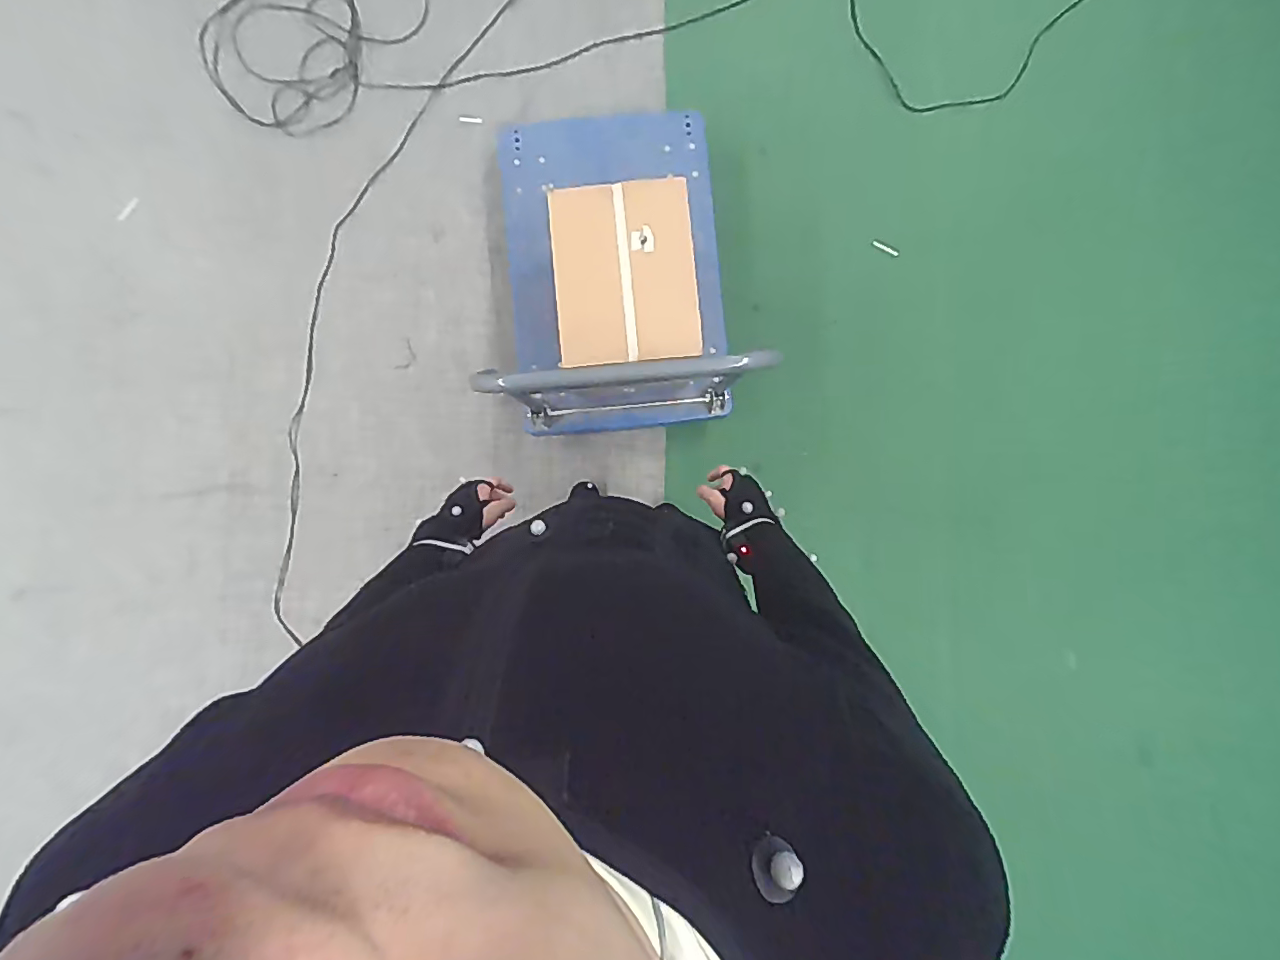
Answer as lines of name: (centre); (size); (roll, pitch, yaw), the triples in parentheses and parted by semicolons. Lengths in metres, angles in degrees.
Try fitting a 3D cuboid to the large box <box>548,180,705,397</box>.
large box: (-0.030, -0.447, 1.339); (0.320, 0.320, 0.408); (-6, 87, -1)
